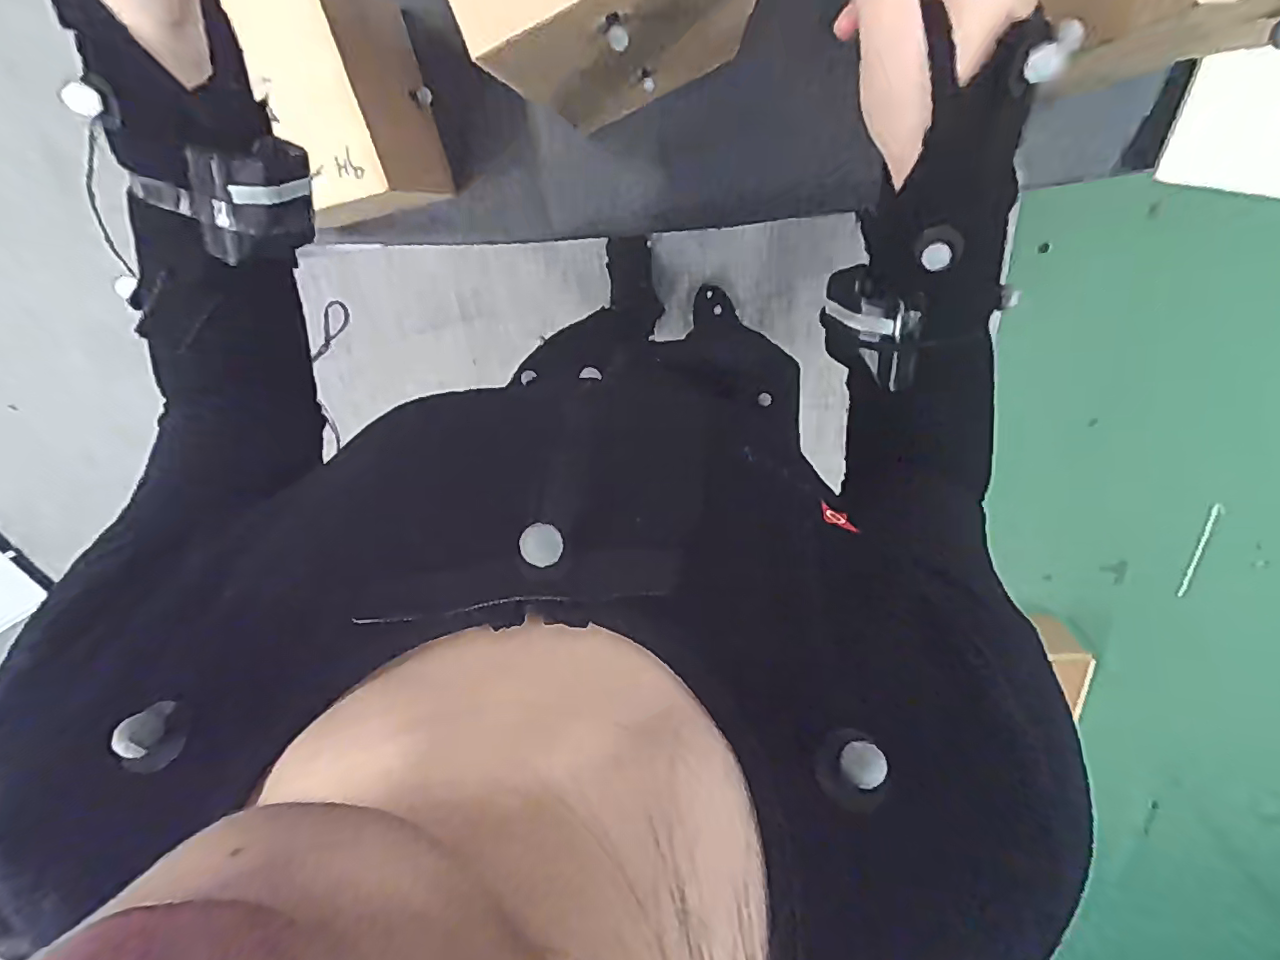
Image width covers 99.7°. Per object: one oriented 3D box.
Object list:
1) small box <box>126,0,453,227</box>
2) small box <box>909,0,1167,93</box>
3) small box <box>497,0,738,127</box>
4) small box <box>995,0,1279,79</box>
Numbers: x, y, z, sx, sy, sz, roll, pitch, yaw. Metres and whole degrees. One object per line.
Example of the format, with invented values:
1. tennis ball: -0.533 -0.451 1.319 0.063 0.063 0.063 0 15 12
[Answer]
1. small box: -0.312 -0.356 0.528 0.168 0.176 0.179 -8 115 10
2. small box: 0.345 -0.439 0.428 0.168 0.176 0.179 11 117 0
3. small box: -0.026 -0.436 0.467 0.179 0.176 0.168 -19 114 13
4. small box: 0.337 -0.345 0.293 0.179 0.176 0.168 -4 115 8
